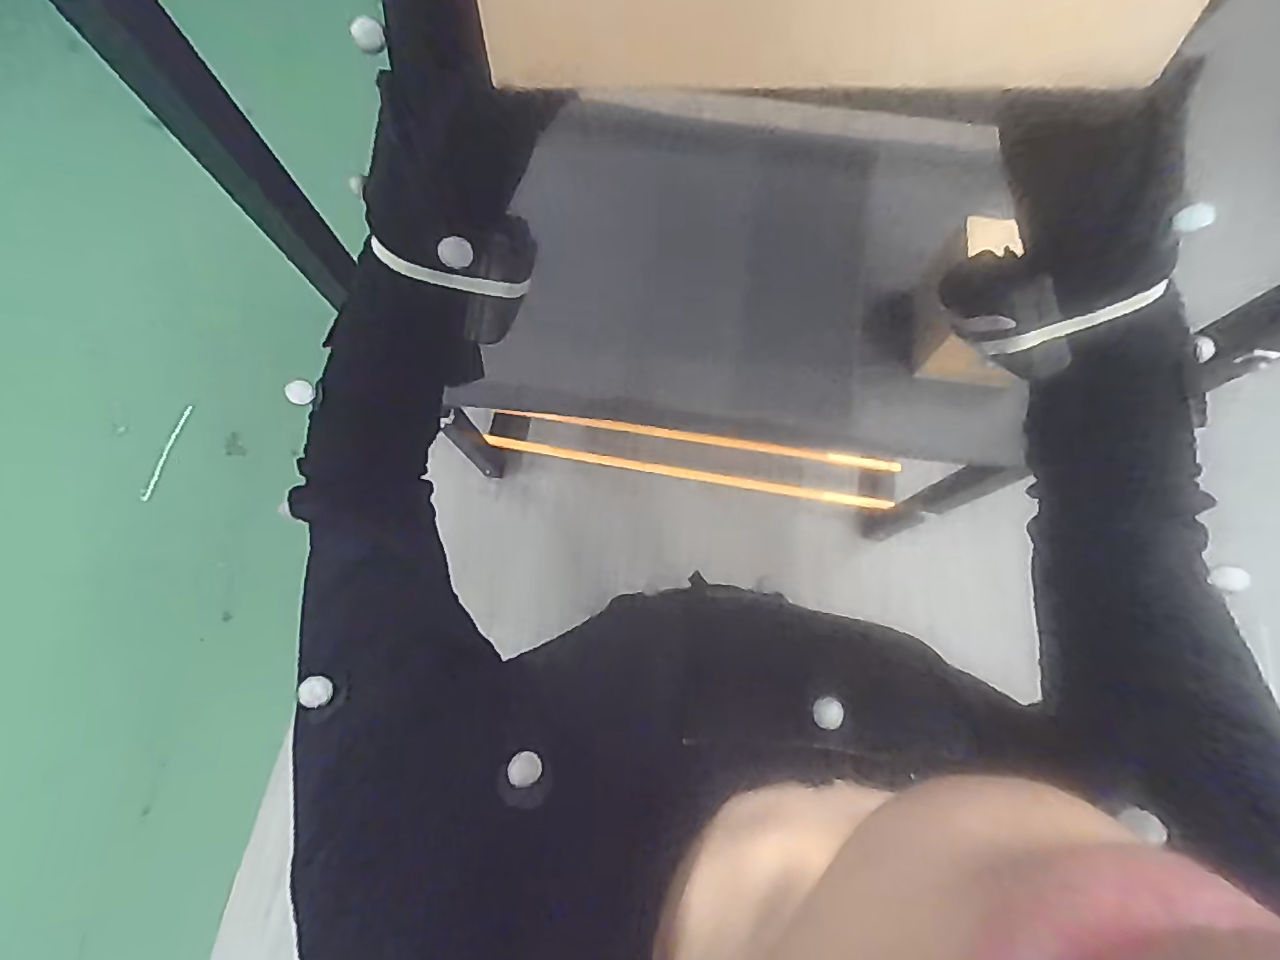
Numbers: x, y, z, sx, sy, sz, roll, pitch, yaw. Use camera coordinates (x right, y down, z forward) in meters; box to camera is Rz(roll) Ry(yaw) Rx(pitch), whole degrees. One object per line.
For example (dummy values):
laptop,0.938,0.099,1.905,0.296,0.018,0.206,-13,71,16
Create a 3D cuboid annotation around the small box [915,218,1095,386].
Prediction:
small box,0.541,-0.263,0.828,0.168,0.176,0.179,8,72,3
